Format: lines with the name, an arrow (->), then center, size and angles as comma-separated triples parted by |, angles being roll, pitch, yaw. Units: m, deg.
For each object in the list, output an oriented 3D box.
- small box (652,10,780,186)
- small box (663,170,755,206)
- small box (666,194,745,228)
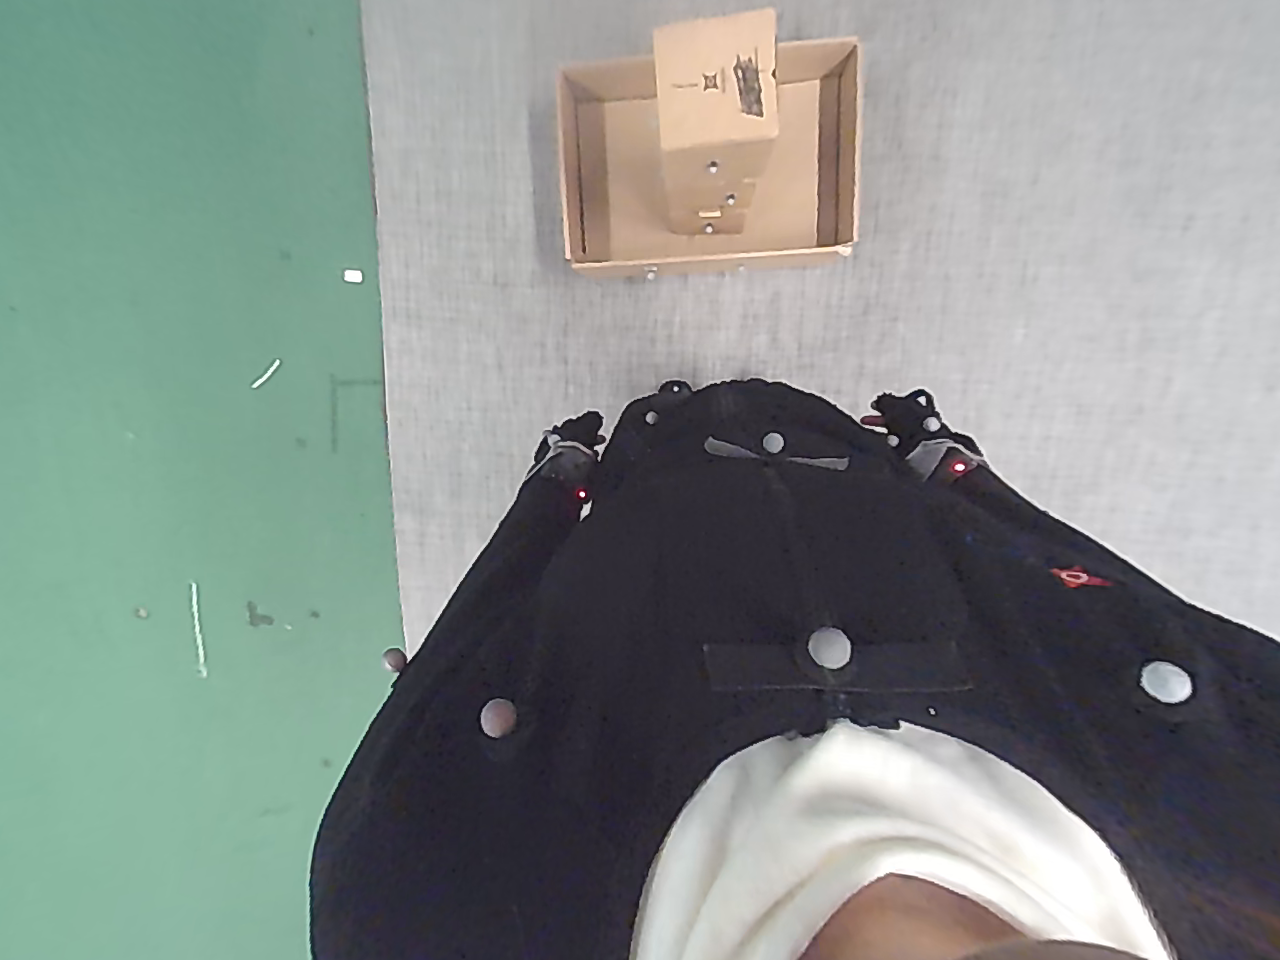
small box -> 0.116, -0.593, 0.863 | 0.179, 0.176, 0.168 | -6, 101, 6
small box -> 0.131, -0.632, 1.022 | 0.168, 0.176, 0.179 | 1, 100, 5
small box -> 0.147, -0.660, 1.181 | 0.168, 0.176, 0.179 | 2, 101, 6
